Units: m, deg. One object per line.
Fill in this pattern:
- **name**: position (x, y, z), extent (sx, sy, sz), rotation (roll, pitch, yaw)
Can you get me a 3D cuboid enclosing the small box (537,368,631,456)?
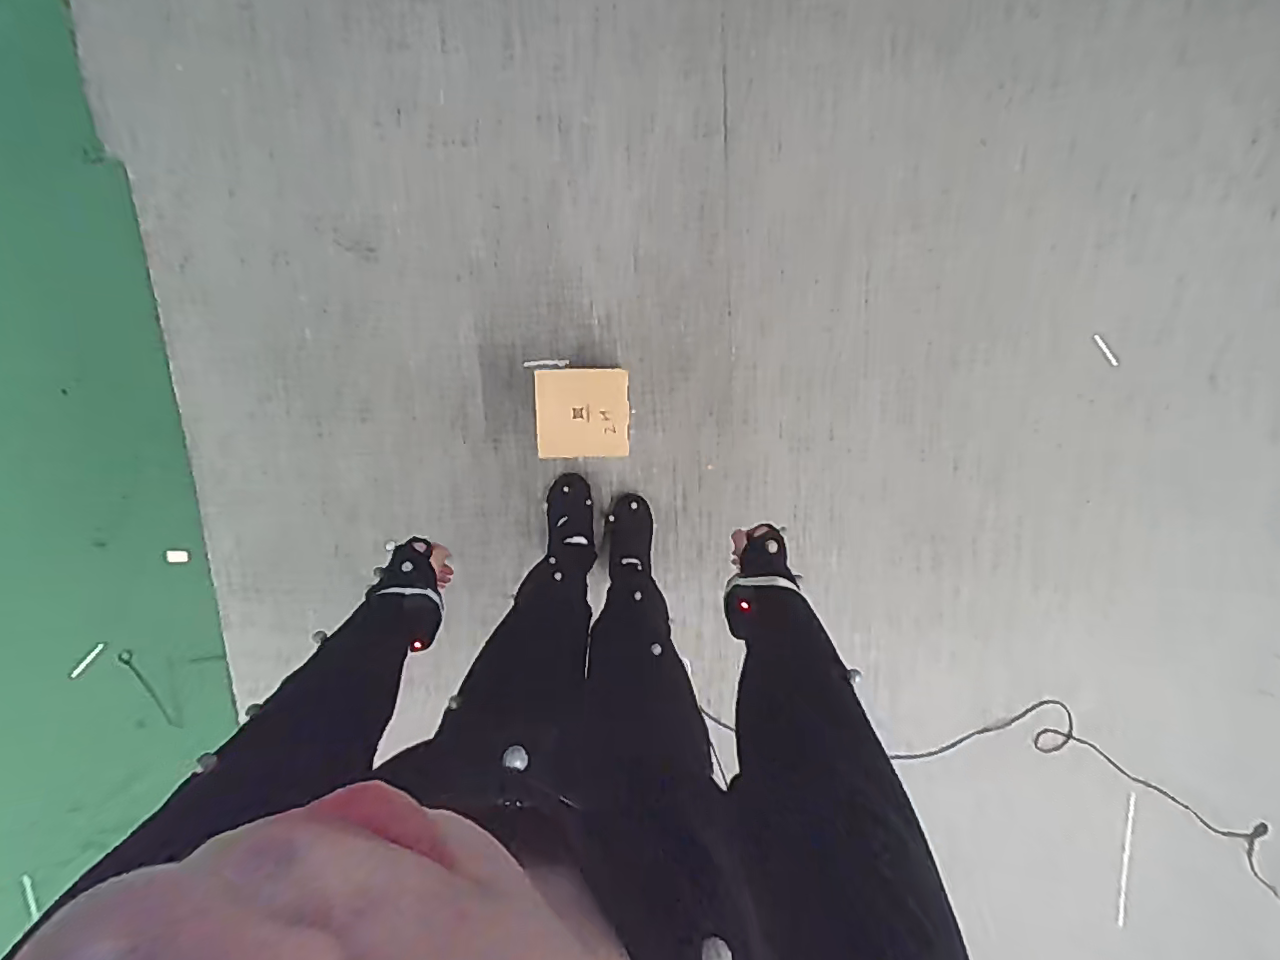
- **small box**: position (-0.107, -0.141, 1.093), extent (0.179, 0.176, 0.168), rotation (0, 101, -2)
